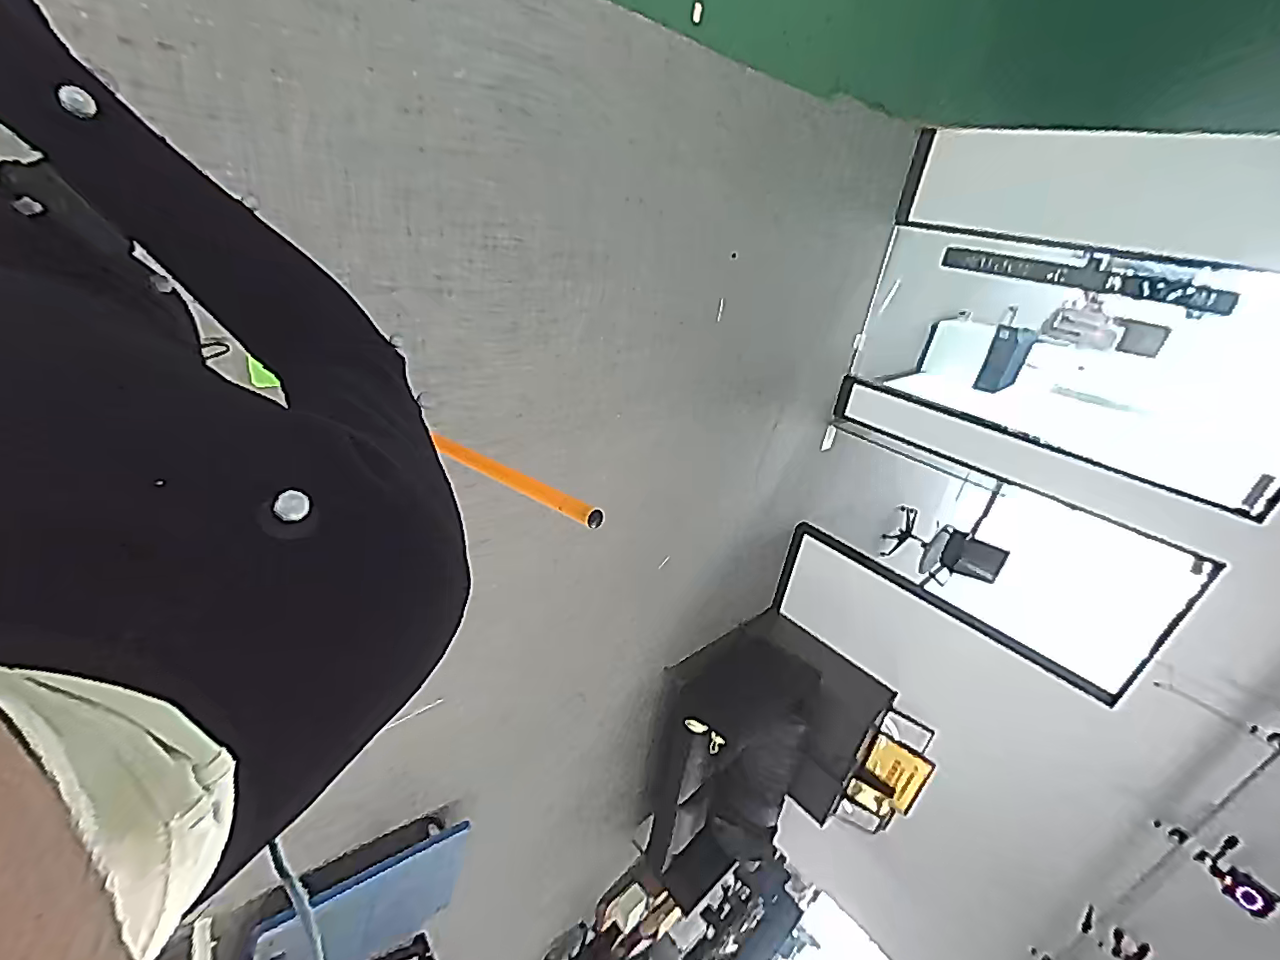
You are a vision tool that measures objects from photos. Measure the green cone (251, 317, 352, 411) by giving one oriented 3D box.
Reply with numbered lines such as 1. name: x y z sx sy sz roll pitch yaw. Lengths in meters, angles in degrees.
1. green cone: -0.754 -0.245 1.277 0.202 0.368 0.200 -15 125 -39
